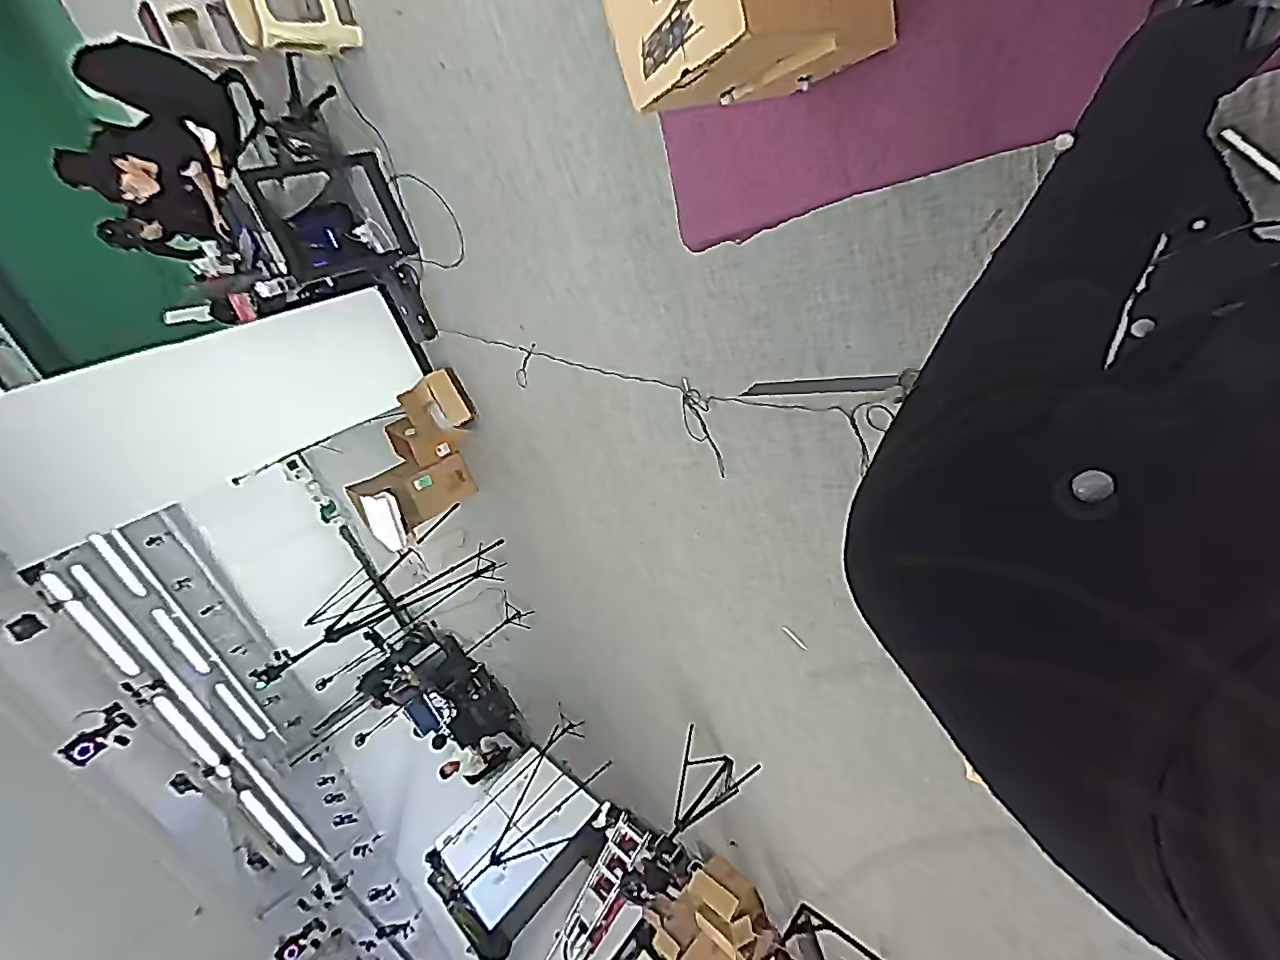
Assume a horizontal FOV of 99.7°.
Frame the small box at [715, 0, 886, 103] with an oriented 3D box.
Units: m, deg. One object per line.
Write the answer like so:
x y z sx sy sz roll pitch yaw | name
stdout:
0.188 -0.606 0.671 0.168 0.176 0.179 10 126 46 | small box

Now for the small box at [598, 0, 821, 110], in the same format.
0.071 -0.536 0.578 0.168 0.176 0.179 5 122 48 | small box
